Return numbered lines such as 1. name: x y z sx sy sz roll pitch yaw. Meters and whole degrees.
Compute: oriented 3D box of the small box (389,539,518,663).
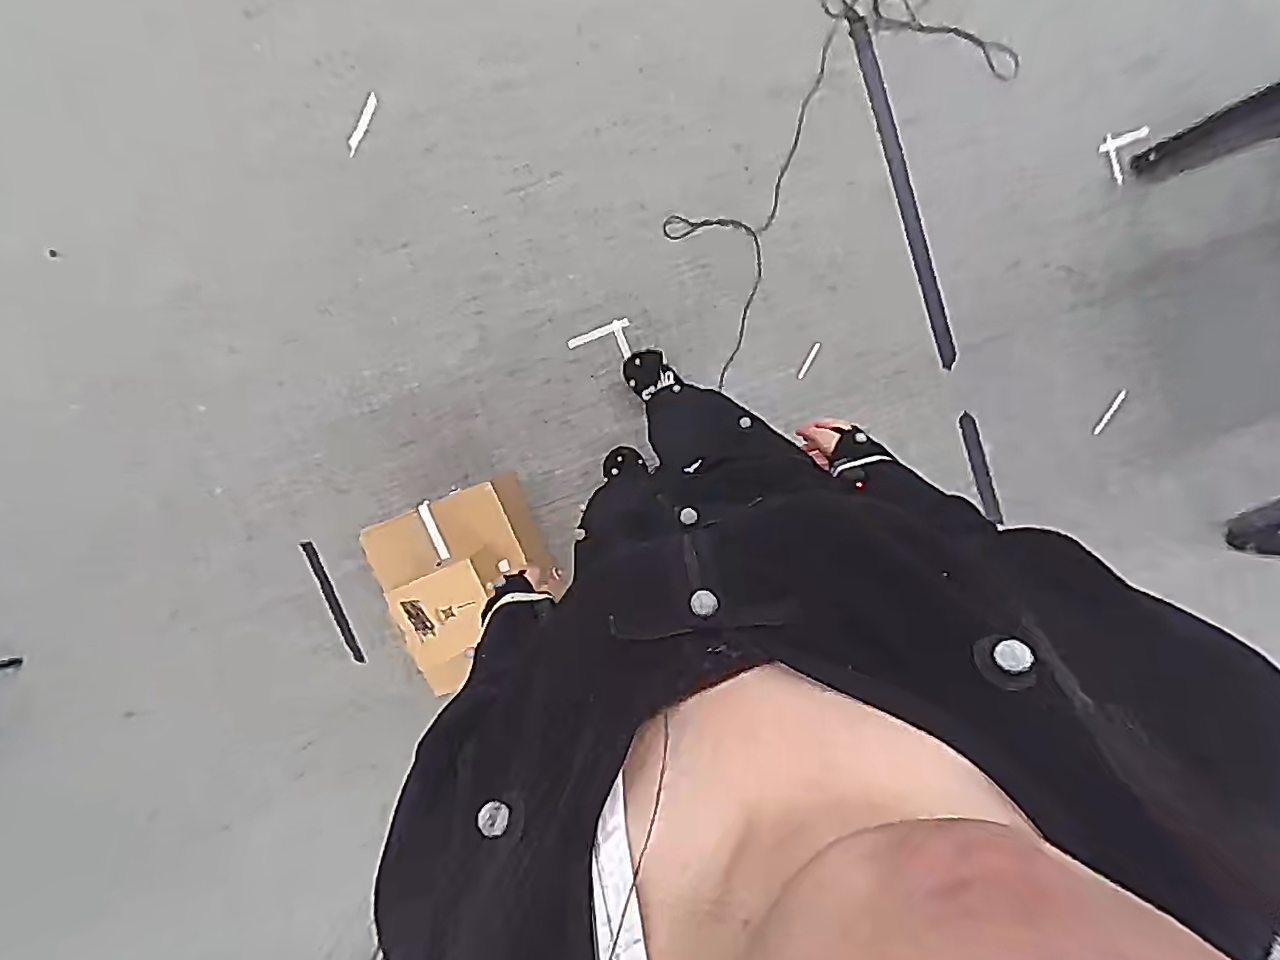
1. small box: -0.368 0.238 1.102 0.179 0.176 0.168 -23 96 -2
